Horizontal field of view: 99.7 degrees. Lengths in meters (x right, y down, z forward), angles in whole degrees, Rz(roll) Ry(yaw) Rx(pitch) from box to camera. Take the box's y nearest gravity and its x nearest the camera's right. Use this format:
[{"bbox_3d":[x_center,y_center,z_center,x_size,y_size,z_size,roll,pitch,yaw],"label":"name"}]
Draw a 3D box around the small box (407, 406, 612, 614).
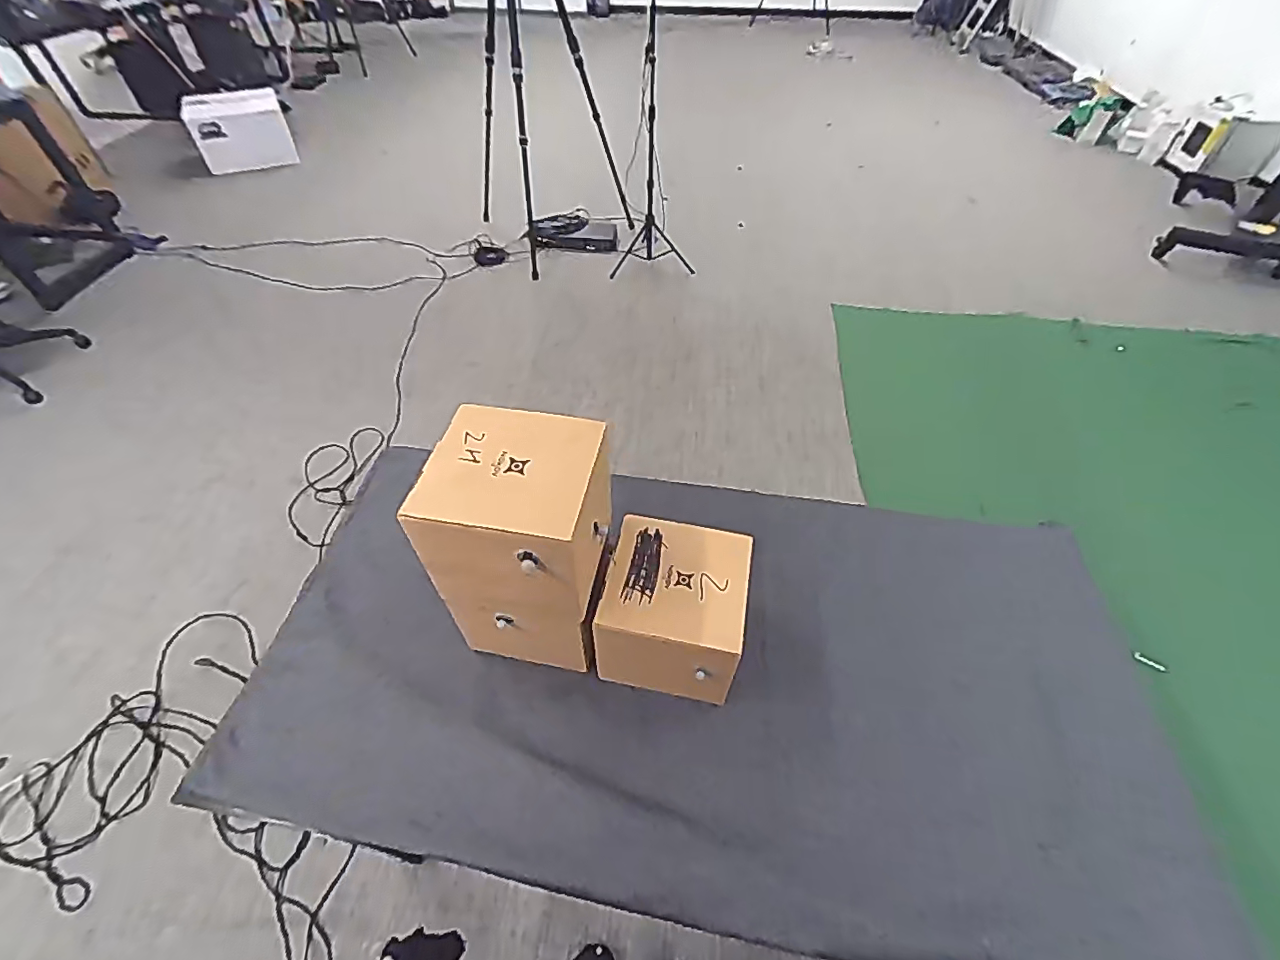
[{"bbox_3d":[-0.134,0.039,0.633,0.179,0.176,0.168,8,49,5],"label":"small box"}]
